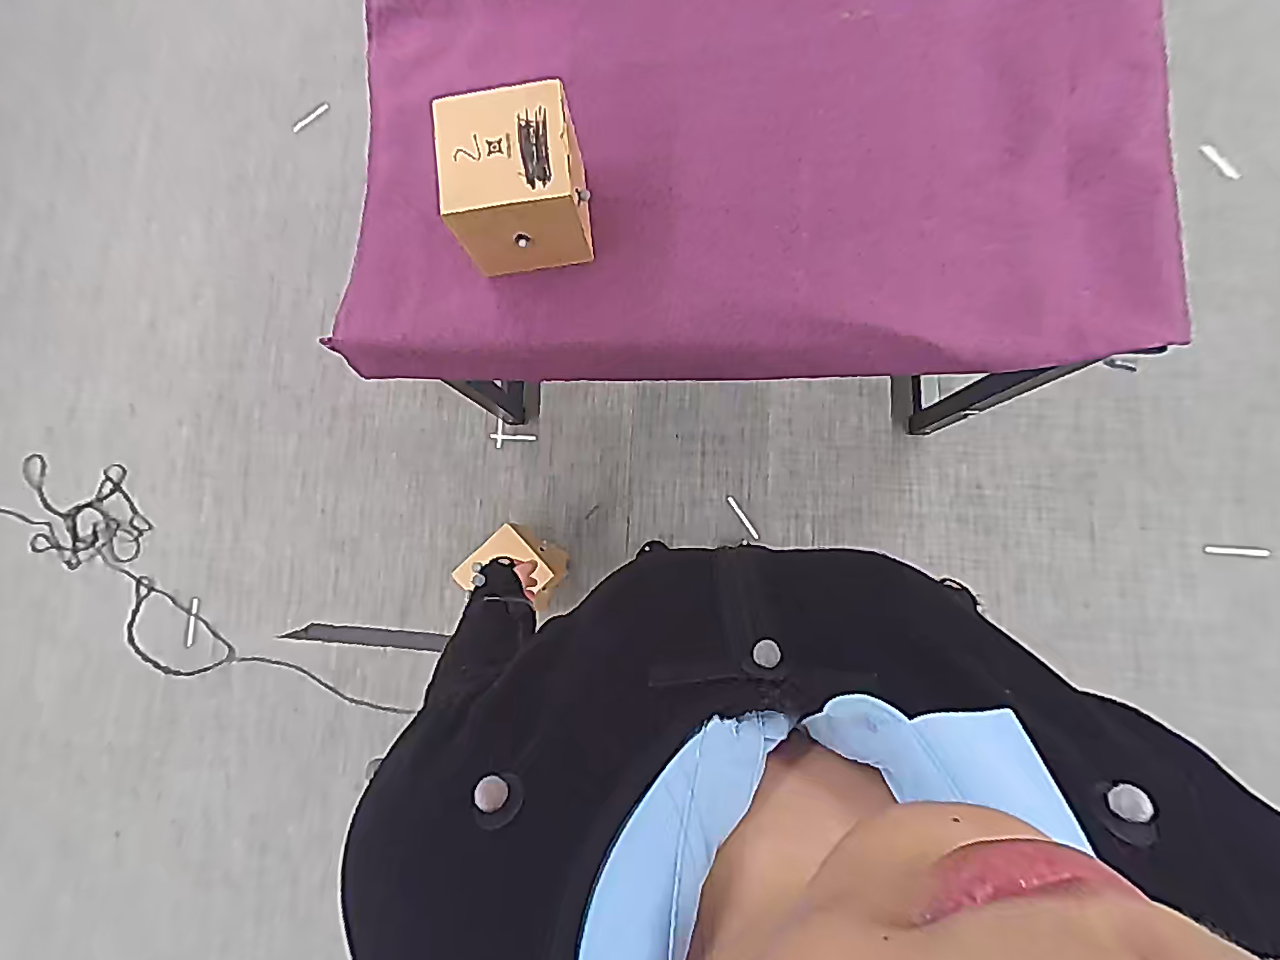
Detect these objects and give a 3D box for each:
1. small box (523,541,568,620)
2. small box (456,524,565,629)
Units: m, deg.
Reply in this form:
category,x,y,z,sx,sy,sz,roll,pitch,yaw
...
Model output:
category,x,y,z,sx,sy,sz,roll,pitch,yaw
small box,-0.309,0.250,1.453,0.168,0.176,0.179,25,86,6
small box,-0.296,0.224,1.289,0.179,0.176,0.168,-43,82,-2
